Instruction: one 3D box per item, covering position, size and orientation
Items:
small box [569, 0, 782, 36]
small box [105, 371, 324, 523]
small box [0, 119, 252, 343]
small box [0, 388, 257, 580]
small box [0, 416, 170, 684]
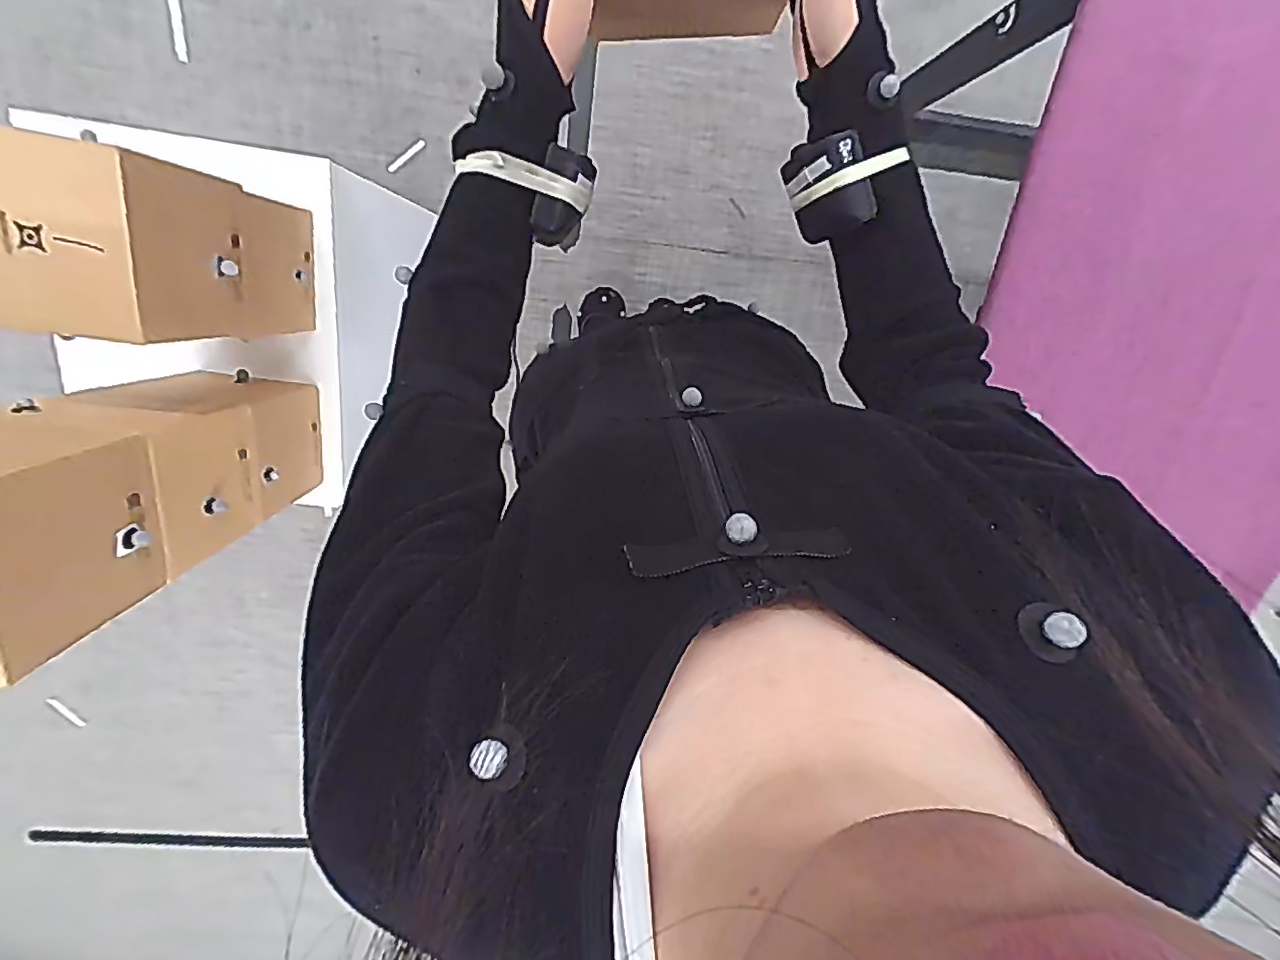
[{"bbox_3d":[0.030,-0.434,0.364,0.179,0.176,0.168,-2,109,0],"label":"small box"},{"bbox_3d":[-0.579,-0.055,0.763,0.179,0.176,0.168,7,109,-5],"label":"small box"},{"bbox_3d":[-0.526,-0.237,0.531,0.179,0.176,0.168,7,109,-7],"label":"small box"},{"bbox_3d":[-0.568,-0.004,0.609,0.179,0.176,0.168,5,108,-5],"label":"small box"},{"bbox_3d":[-0.559,0.046,0.455,0.179,0.176,0.168,5,109,-6],"label":"small box"}]
